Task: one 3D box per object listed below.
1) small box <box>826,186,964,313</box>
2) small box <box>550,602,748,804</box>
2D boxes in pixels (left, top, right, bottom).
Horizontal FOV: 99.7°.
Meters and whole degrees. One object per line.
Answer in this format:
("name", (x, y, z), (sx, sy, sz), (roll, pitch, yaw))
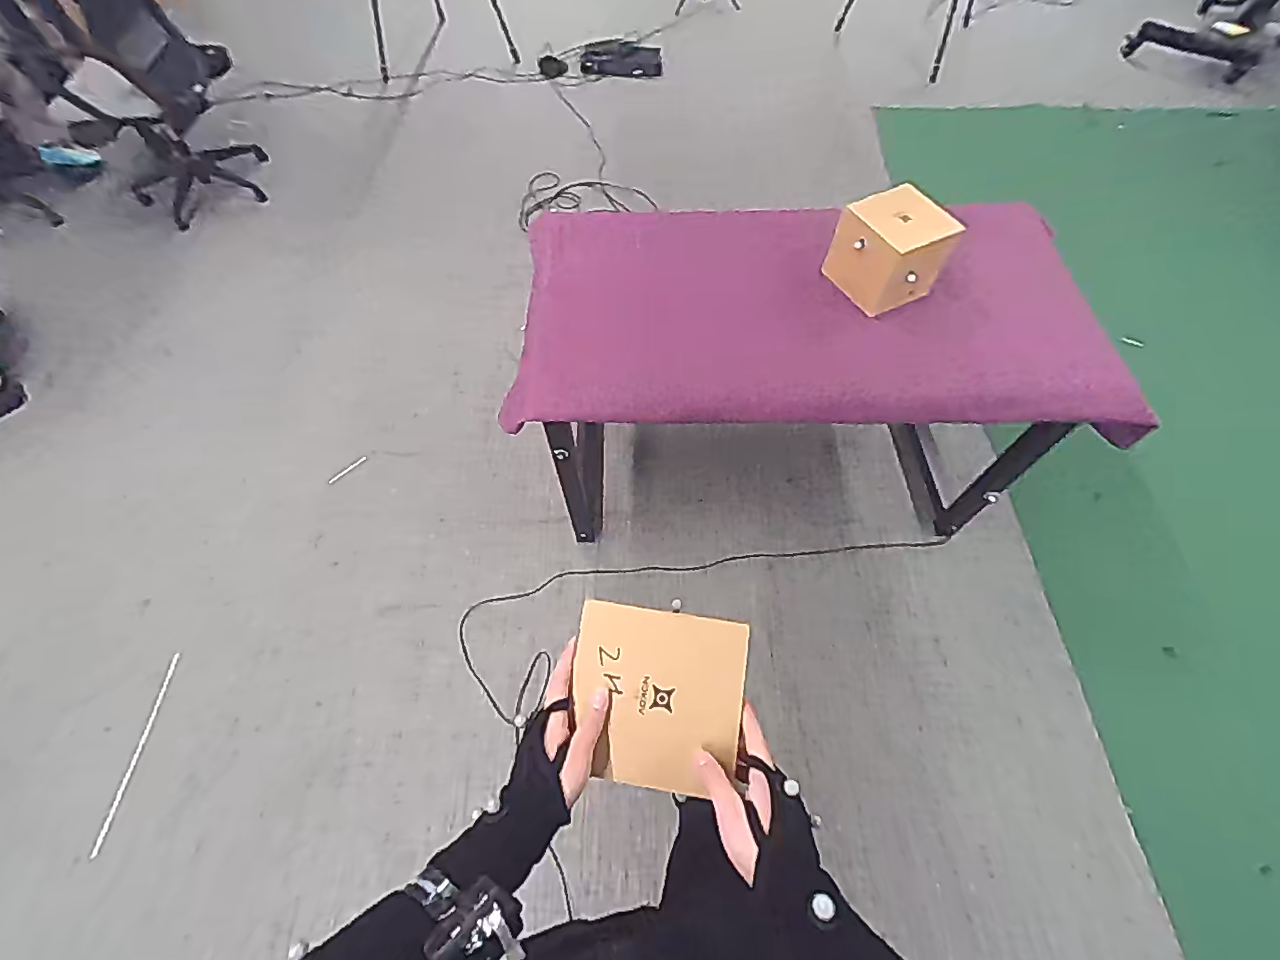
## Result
("small box", (0.529, -0.479, 1.147), (0.168, 0.176, 0.179), (-24, 61, -12))
("small box", (0.016, 0.233, 0.608), (0.179, 0.176, 0.168), (7, 76, 7))
